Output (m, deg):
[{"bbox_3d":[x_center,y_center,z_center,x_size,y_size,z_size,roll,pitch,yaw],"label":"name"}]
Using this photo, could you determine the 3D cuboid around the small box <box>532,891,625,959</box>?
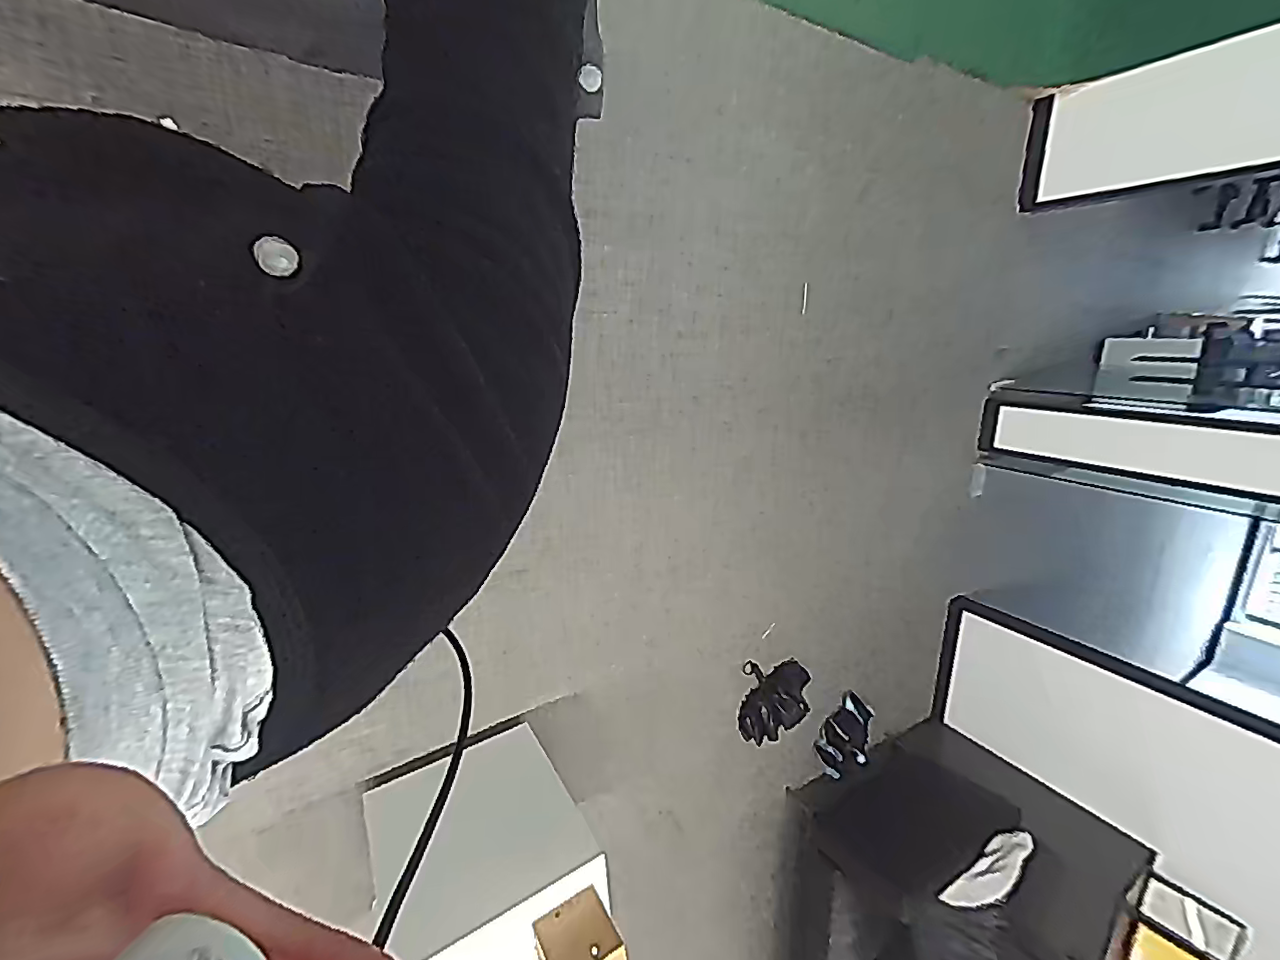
[{"bbox_3d":[-0.141,1.131,1.271,0.168,0.176,0.179,-15,112,-28],"label":"small box"}]
